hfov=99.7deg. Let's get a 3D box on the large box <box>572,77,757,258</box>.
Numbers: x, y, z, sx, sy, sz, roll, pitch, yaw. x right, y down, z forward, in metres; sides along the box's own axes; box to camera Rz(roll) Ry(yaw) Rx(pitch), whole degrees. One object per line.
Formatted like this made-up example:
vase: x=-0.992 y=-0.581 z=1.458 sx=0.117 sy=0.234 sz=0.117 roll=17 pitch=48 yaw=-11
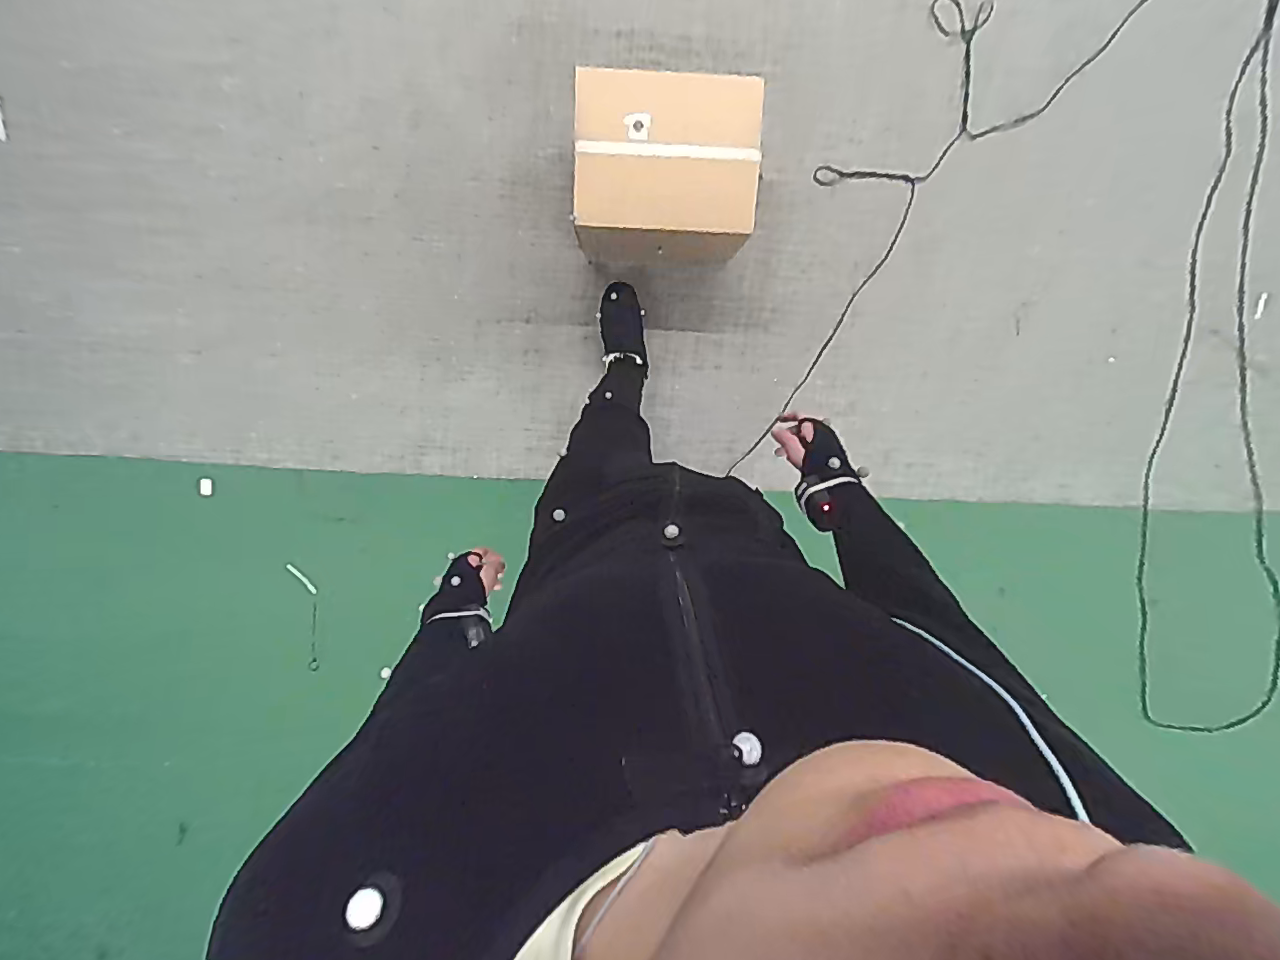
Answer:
large box: x=0.053 y=-0.738 z=1.327 sx=0.408 sy=0.320 sz=0.320 roll=1 pitch=100 yaw=-1
